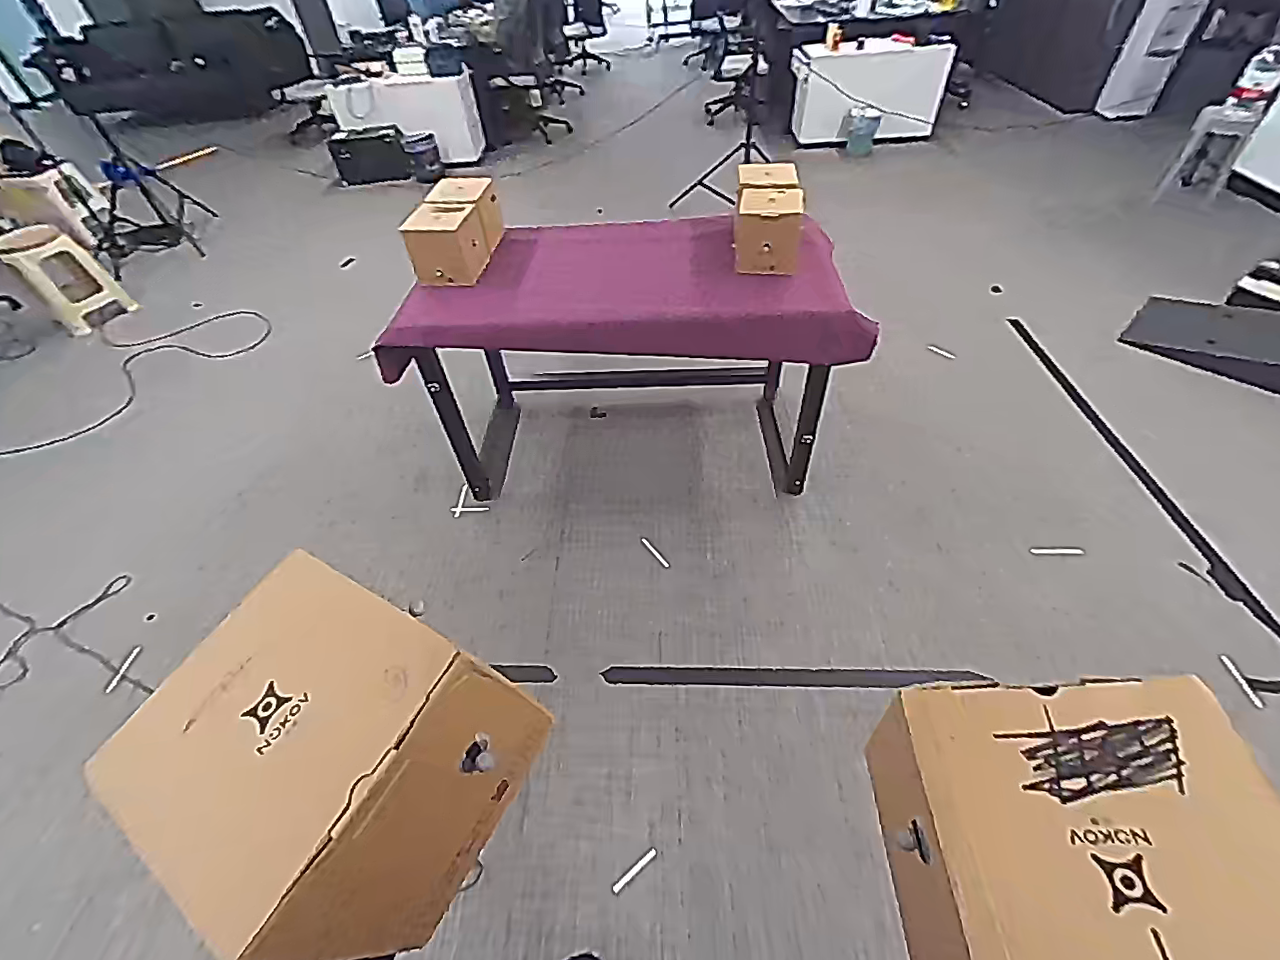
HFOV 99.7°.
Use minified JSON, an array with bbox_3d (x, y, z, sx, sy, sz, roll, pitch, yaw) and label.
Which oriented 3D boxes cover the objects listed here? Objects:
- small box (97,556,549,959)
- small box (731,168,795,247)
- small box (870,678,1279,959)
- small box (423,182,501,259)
[{"bbox_3d":[-0.192,0.186,0.379,0.179,0.176,0.168,18,59,27],"label":"small box"},{"bbox_3d":[0.367,-0.830,1.647,0.168,0.176,0.179,2,47,5],"label":"small box"},{"bbox_3d":[0.254,0.239,0.334,0.168,0.176,0.179,-7,52,10],"label":"small box"},{"bbox_3d":[-0.550,-0.817,1.698,0.168,0.176,0.179,2,49,6],"label":"small box"}]
